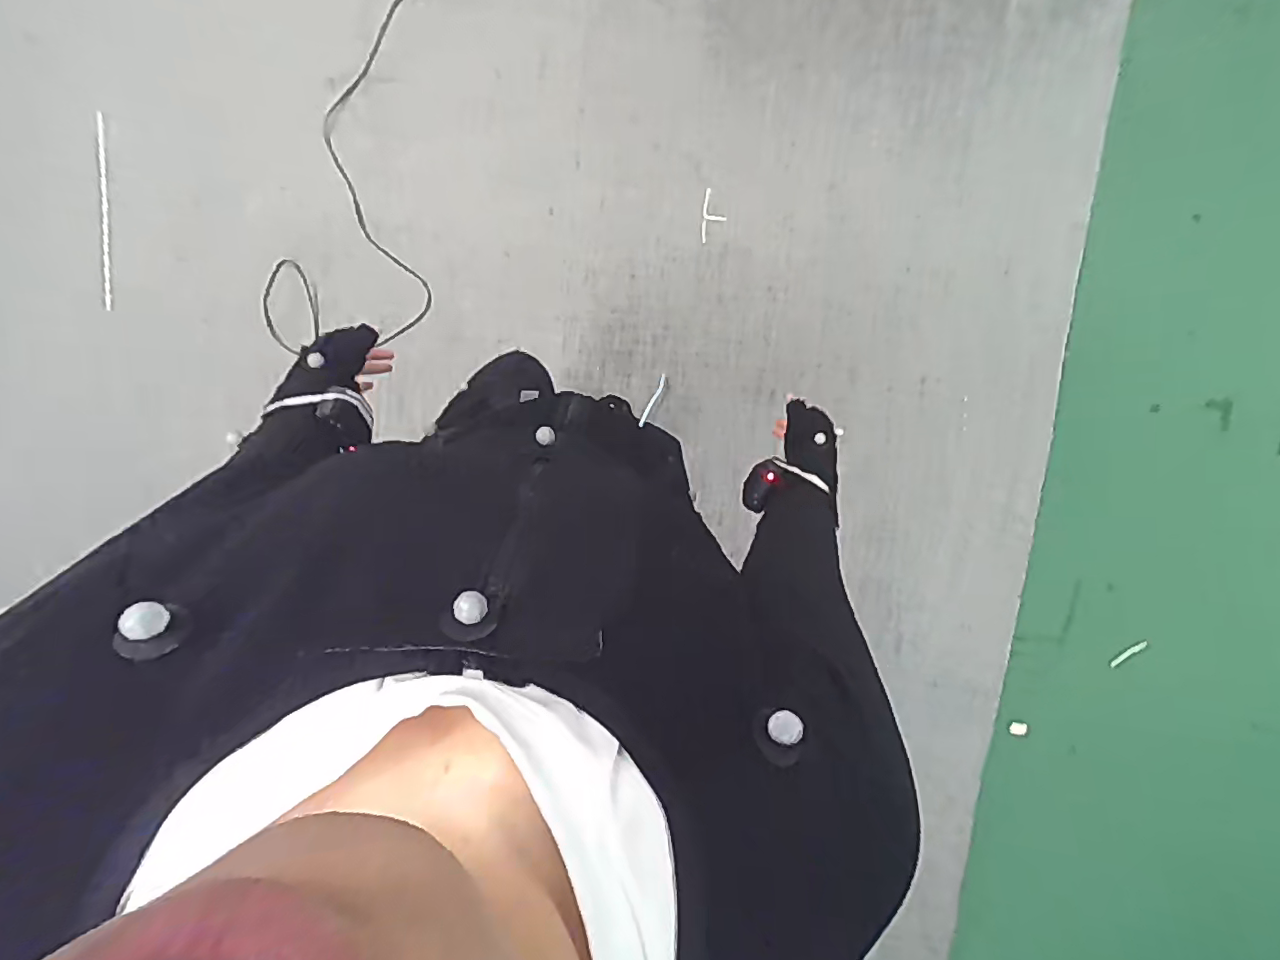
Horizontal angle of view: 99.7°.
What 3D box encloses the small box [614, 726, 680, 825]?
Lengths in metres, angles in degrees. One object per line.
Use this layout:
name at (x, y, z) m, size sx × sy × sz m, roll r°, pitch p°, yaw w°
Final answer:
small box at (0.014, 0.779, 1.444) m, size 0.168 × 0.176 × 0.179 m, roll -1°, pitch 98°, yaw -3°
